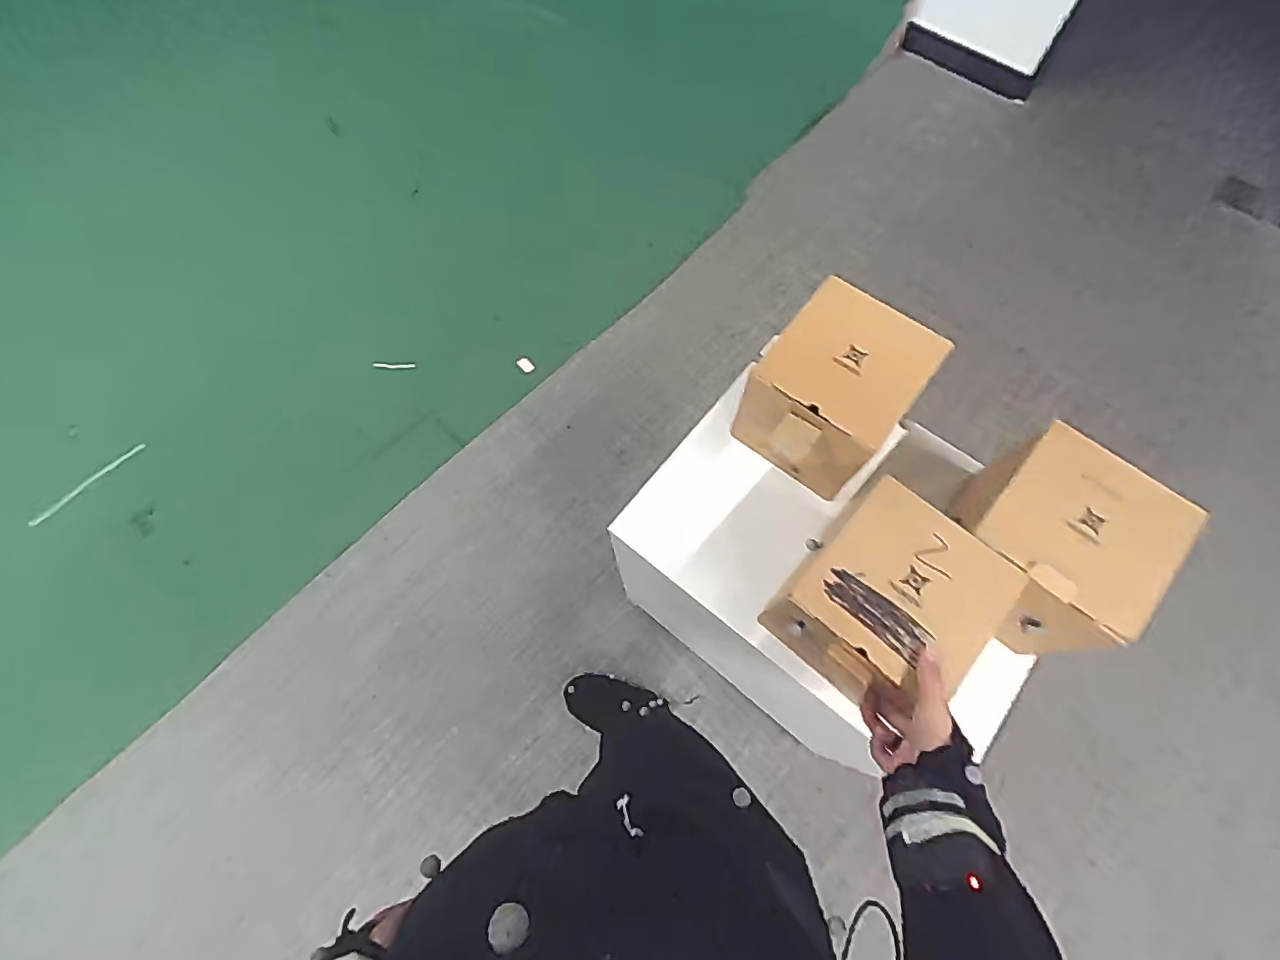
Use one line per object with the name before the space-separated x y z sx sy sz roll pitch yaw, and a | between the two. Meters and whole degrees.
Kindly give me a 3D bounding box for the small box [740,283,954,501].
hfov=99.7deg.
small box | 0.246 -0.103 0.690 0.168 0.176 0.179 37 75 13
